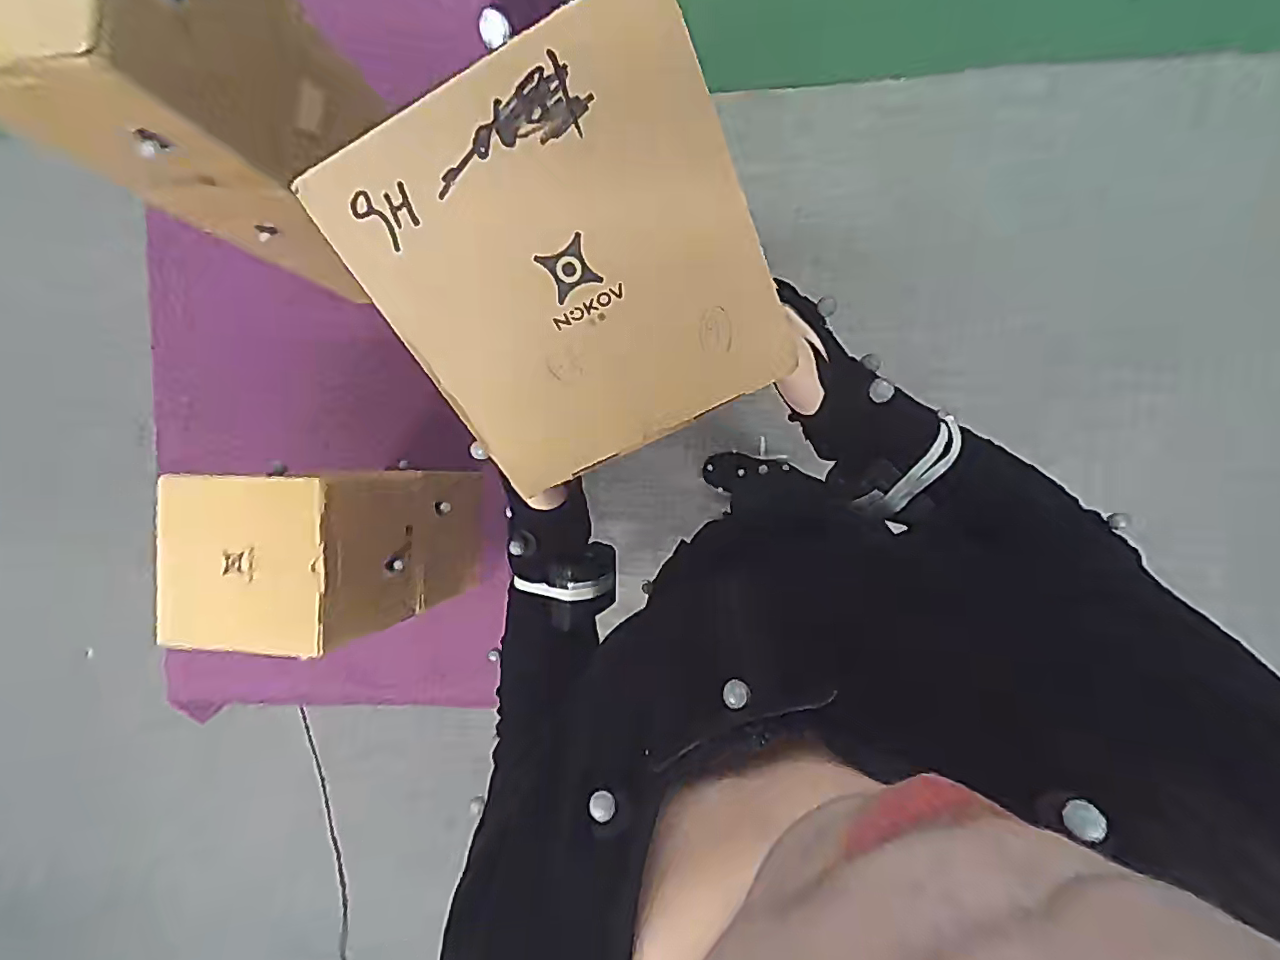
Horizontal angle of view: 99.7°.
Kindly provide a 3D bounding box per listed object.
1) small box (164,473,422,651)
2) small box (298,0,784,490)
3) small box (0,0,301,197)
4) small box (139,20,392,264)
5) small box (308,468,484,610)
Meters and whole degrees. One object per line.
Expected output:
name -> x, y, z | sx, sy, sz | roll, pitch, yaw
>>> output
small box -> -0.365, 0.077, 0.594 | 0.179, 0.176, 0.168 | 1, 91, 8
small box -> -0.038, -0.131, 0.317 | 0.168, 0.176, 0.179 | -24, 121, 10
small box -> -0.403, -0.347, 0.426 | 0.168, 0.176, 0.179 | 4, 91, 7
small box -> -0.385, -0.348, 0.588 | 0.179, 0.176, 0.168 | 3, 91, 9
small box -> -0.331, 0.072, 0.753 | 0.168, 0.176, 0.179 | 0, 91, 10
